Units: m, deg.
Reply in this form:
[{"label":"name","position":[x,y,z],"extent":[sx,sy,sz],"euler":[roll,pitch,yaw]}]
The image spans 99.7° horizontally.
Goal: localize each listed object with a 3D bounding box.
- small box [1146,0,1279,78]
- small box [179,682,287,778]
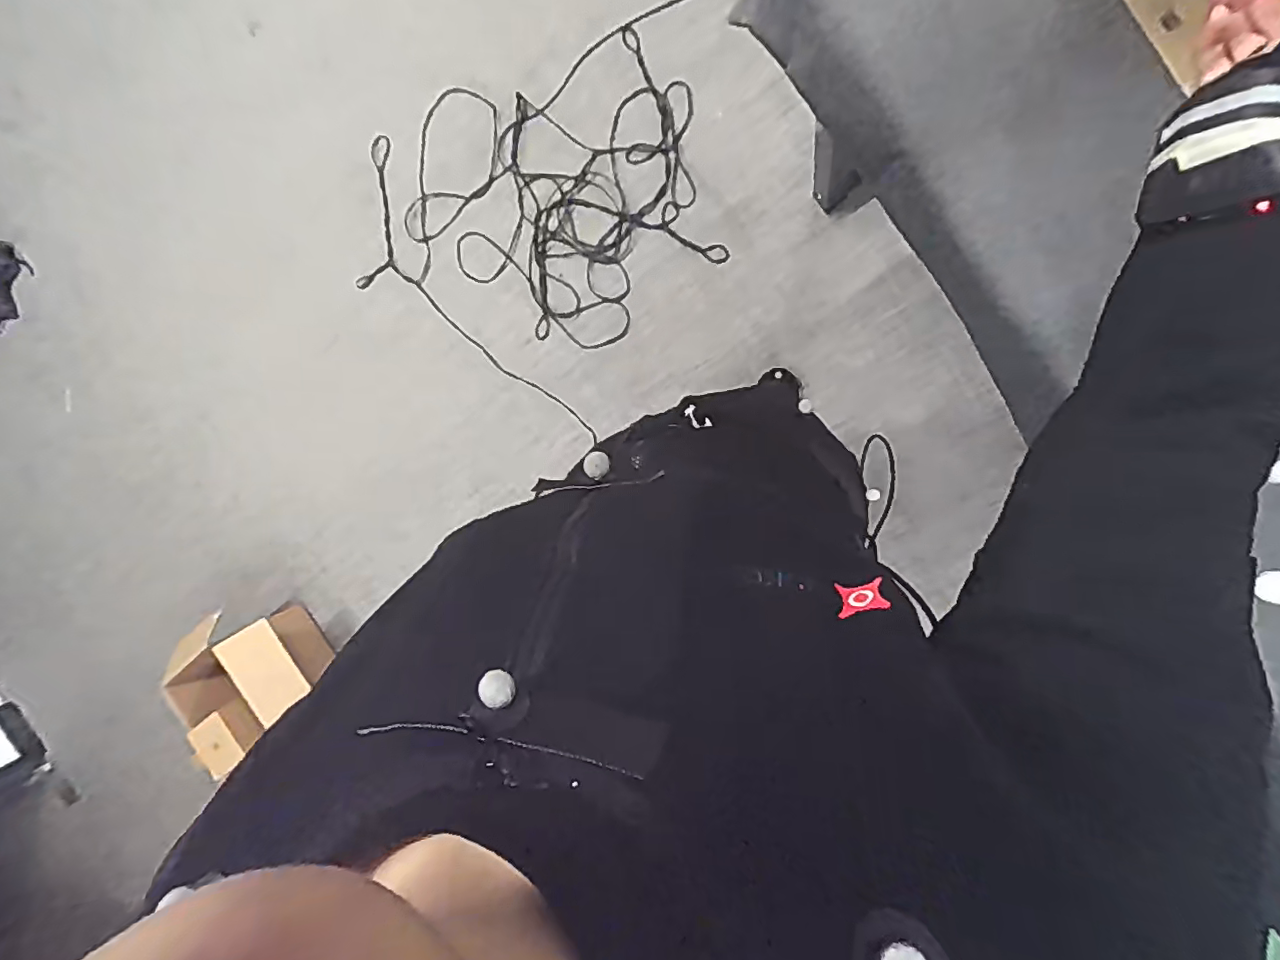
[{"label":"small box","position":[0.428,-0.396,0.315],"extent":[0.179,0.176,0.168],"euler":[-34,91,19]},{"label":"small box","position":[-1.224,0.751,1.634],"extent":[0.179,0.176,0.168],"euler":[-36,89,18]}]
